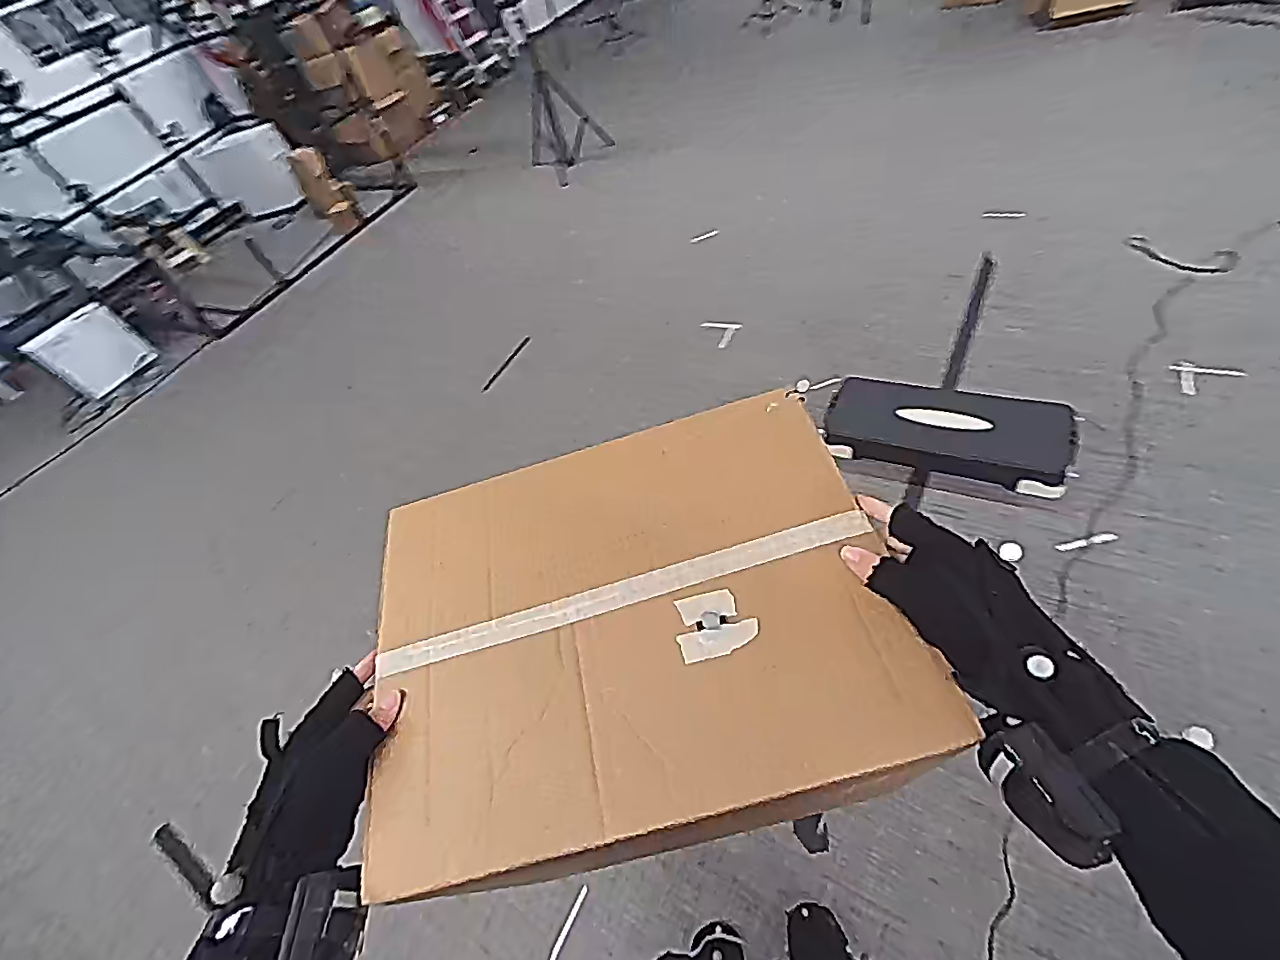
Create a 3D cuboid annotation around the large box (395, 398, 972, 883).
[{"bbox_3d":[0.025,0.178,0.559,0.408,0.320,0.320,-16,54,3],"label":"large box"}]
